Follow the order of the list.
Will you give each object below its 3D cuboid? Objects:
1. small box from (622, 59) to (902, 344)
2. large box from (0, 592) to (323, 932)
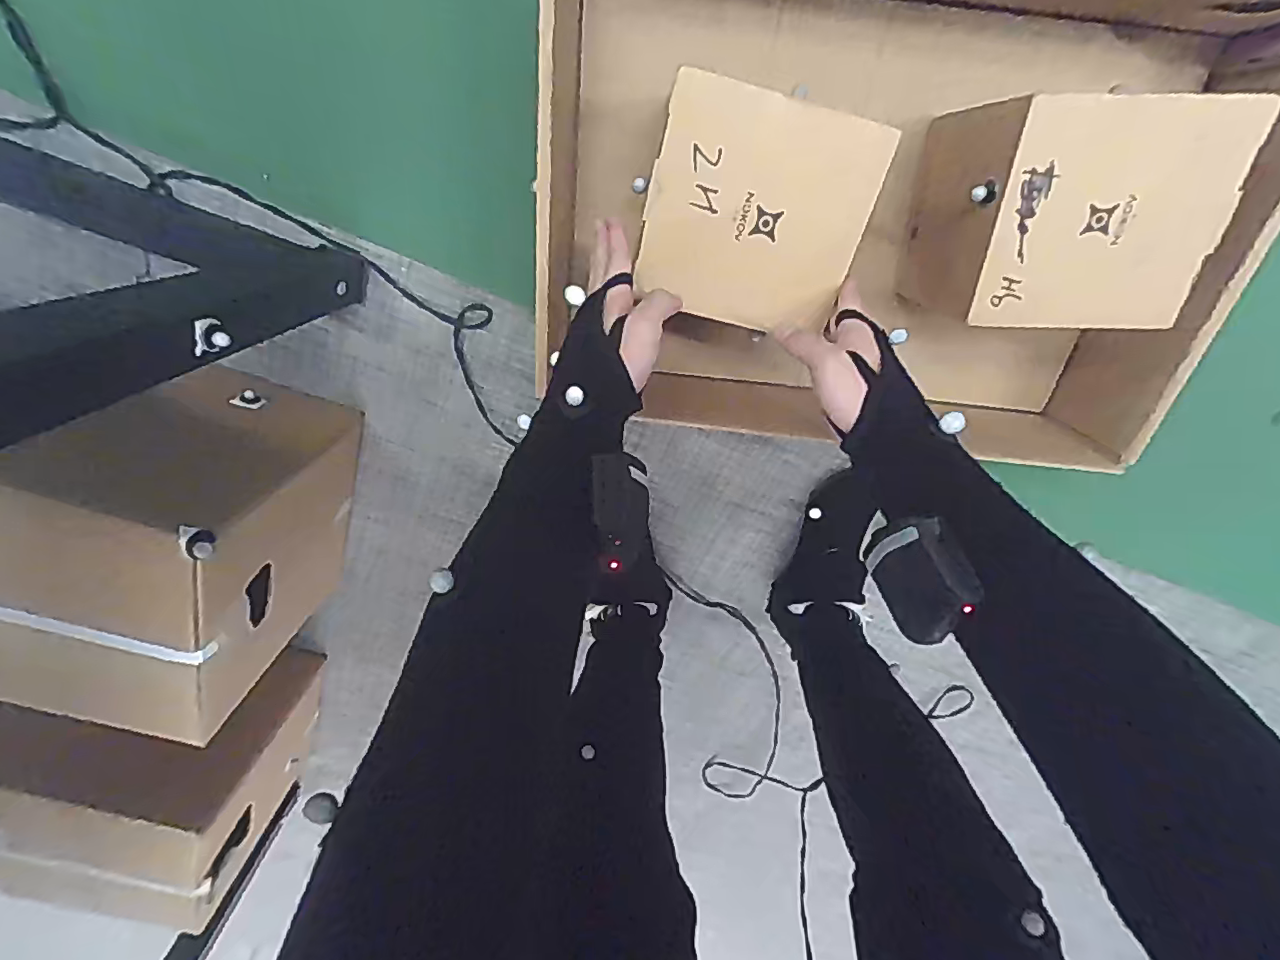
[{"bbox_3d":[0.089,-0.242,0.488,0.179,0.176,0.168,13,117,-6],"label":"small box"},{"bbox_3d":[-0.802,0.442,0.875,0.408,0.320,0.320,21,117,-8],"label":"large box"}]
